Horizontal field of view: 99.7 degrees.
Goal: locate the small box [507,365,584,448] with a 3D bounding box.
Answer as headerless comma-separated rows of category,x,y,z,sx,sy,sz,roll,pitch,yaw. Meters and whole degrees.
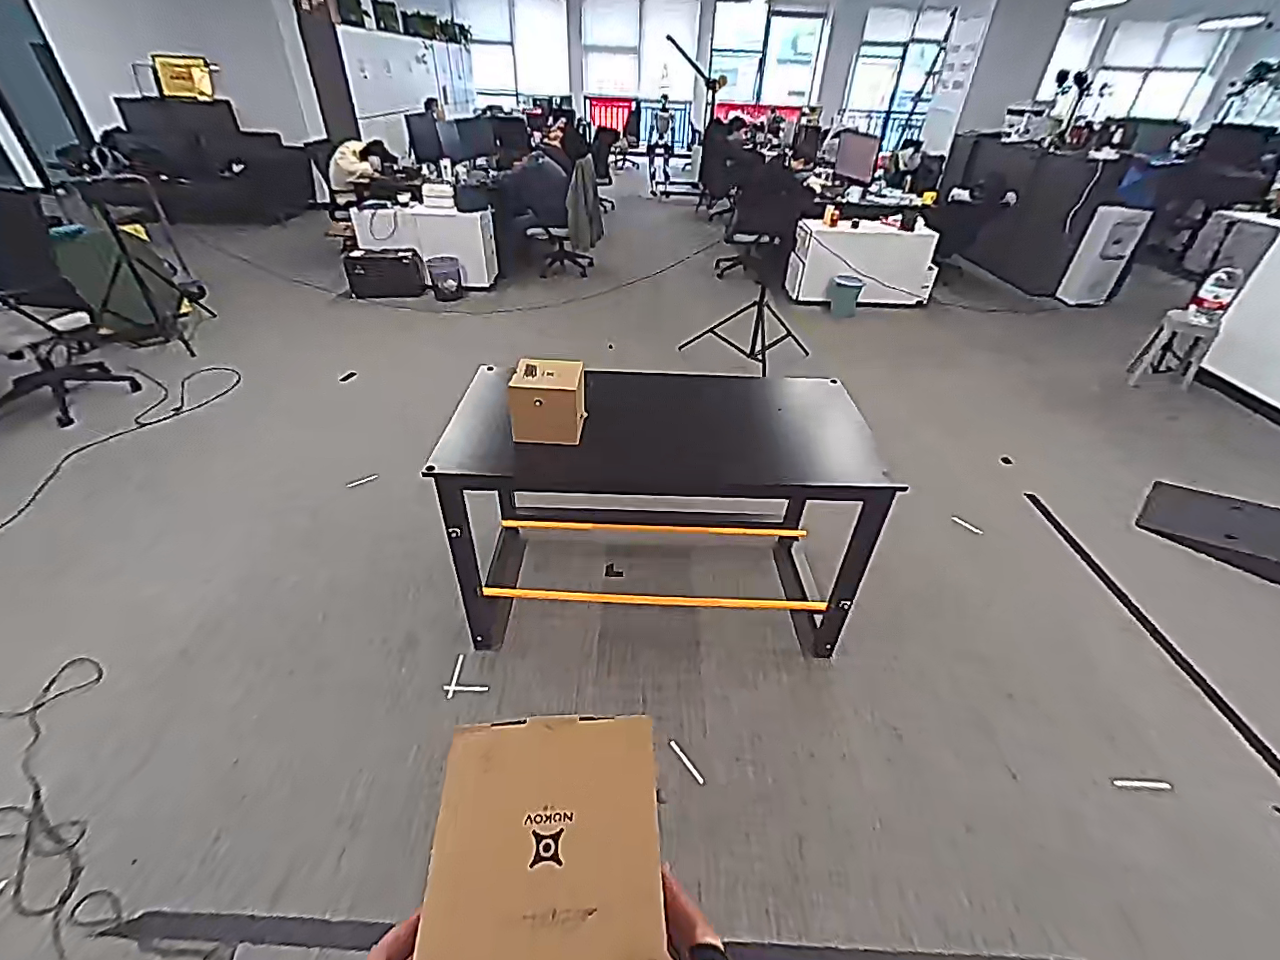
small box,-0.251,-0.200,1.472,0.179,0.176,0.168,3,36,-1

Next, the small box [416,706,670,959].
small box,-0.068,0.314,0.456,0.168,0.176,0.179,-2,45,-3
